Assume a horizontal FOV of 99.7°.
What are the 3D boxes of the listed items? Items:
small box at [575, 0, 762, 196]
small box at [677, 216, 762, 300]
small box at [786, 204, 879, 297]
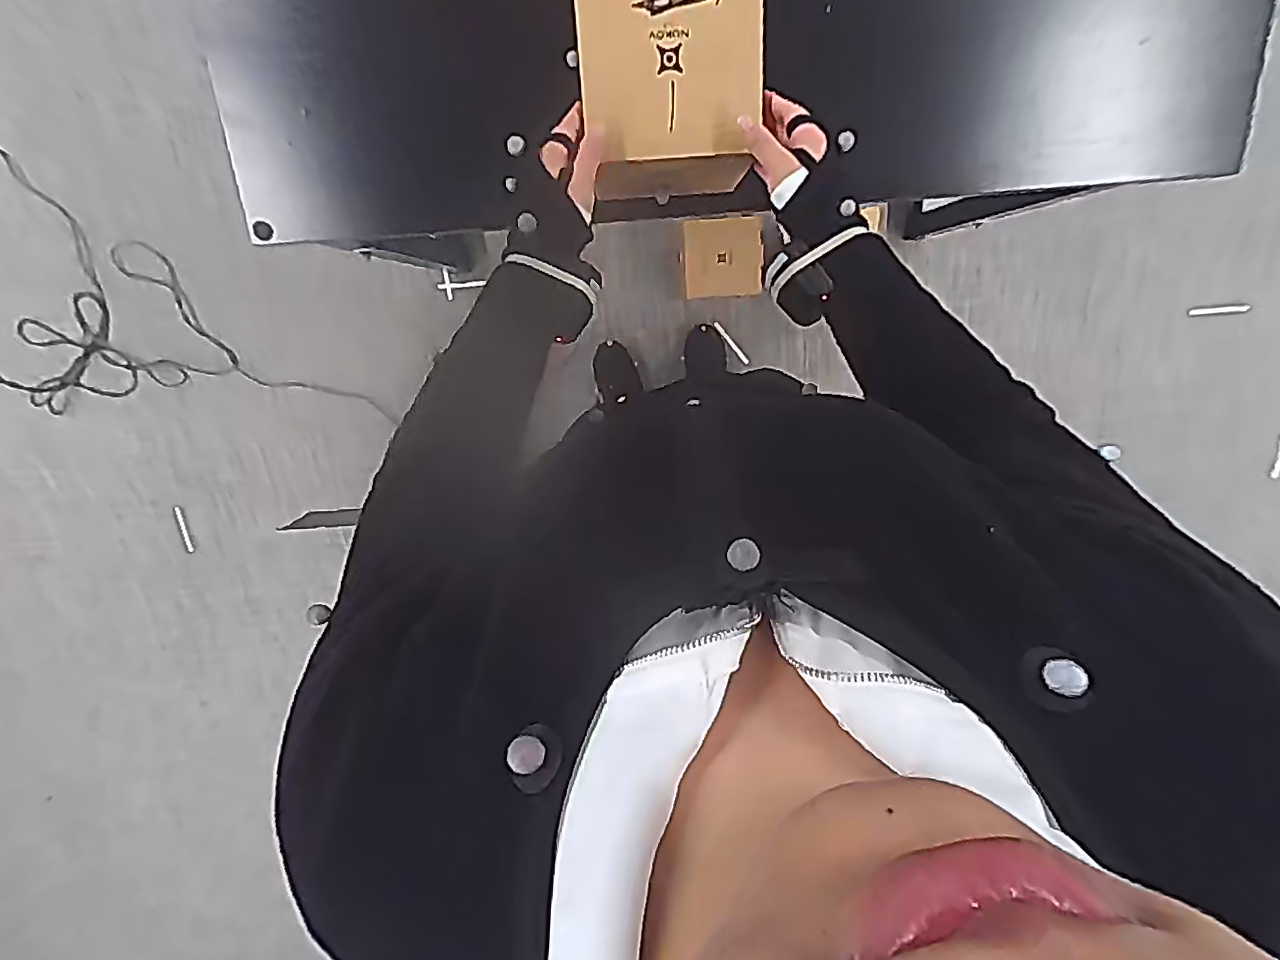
[{"bbox_3d":[0.024,-0.409,0.554,0.168,0.176,0.179,-3,107,1],"label":"small box"},{"bbox_3d":[0.185,-0.521,1.286,0.179,0.176,0.168,-4,106,2],"label":"small box"},{"bbox_3d":[0.447,-0.535,1.281,0.168,0.176,0.179,-5,106,2],"label":"small box"}]
